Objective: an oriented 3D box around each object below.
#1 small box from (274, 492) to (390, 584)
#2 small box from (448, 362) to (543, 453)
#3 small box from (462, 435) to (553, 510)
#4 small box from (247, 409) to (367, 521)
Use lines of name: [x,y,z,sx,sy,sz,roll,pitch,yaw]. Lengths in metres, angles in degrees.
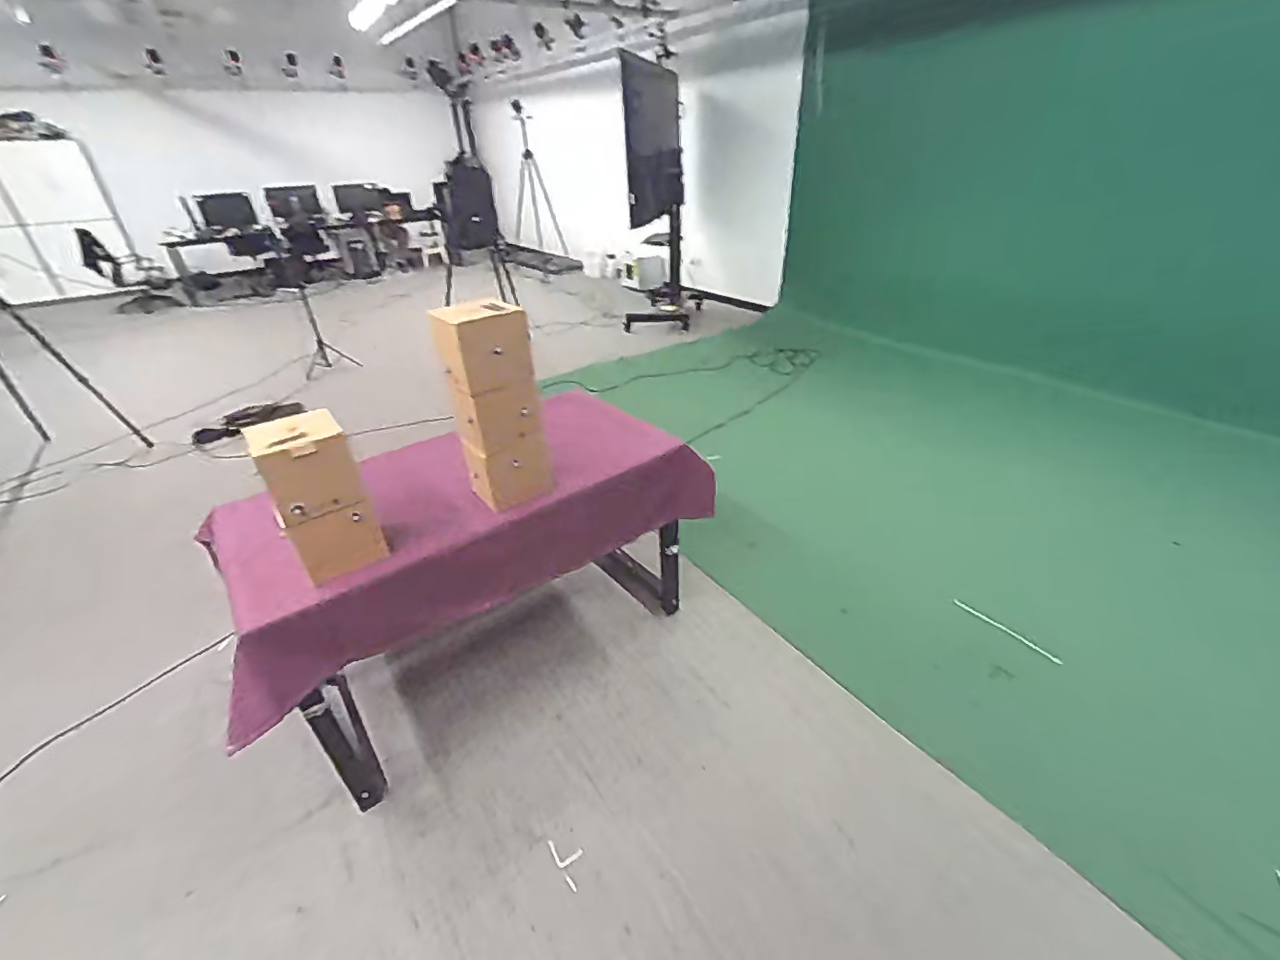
small box: [-0.707,0.109,1.249,0.179,0.176,0.168,-23,37,-31]
small box: [-0.365,-0.184,1.386,0.168,0.176,0.179,-24,37,-31]
small box: [-0.355,-0.043,1.467,0.179,0.176,0.168,-23,38,-29]
small box: [-0.713,-0.032,1.165,0.168,0.176,0.179,-23,36,-31]
